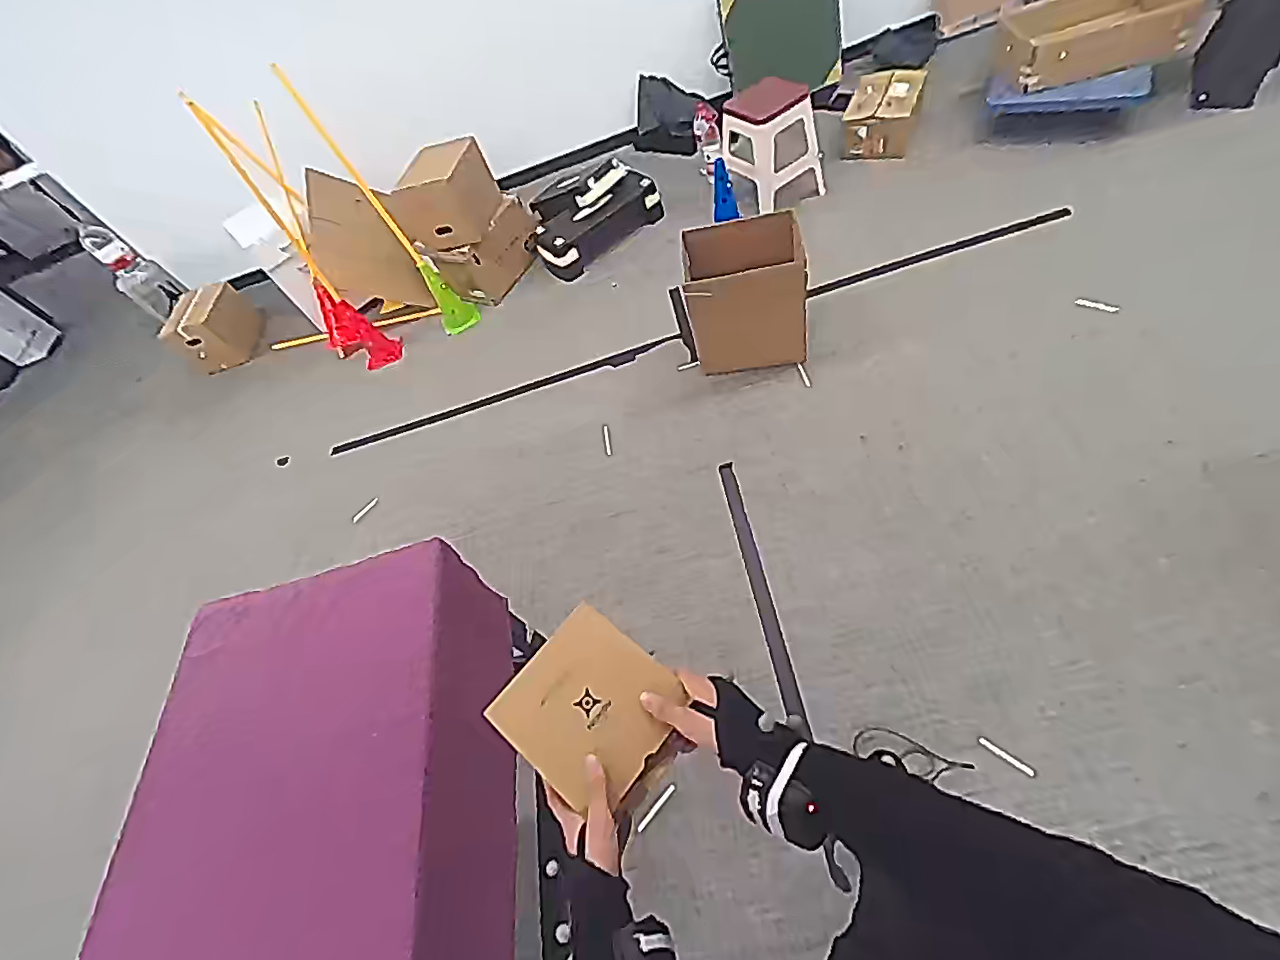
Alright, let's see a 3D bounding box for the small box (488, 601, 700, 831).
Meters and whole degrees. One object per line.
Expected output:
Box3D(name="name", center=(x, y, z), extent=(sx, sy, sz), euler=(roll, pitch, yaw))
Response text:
Box3D(name="small box", center=(-0.043, 0.282, 0.651), extent=(0.179, 0.176, 0.168), euler=(33, 67, 24))
